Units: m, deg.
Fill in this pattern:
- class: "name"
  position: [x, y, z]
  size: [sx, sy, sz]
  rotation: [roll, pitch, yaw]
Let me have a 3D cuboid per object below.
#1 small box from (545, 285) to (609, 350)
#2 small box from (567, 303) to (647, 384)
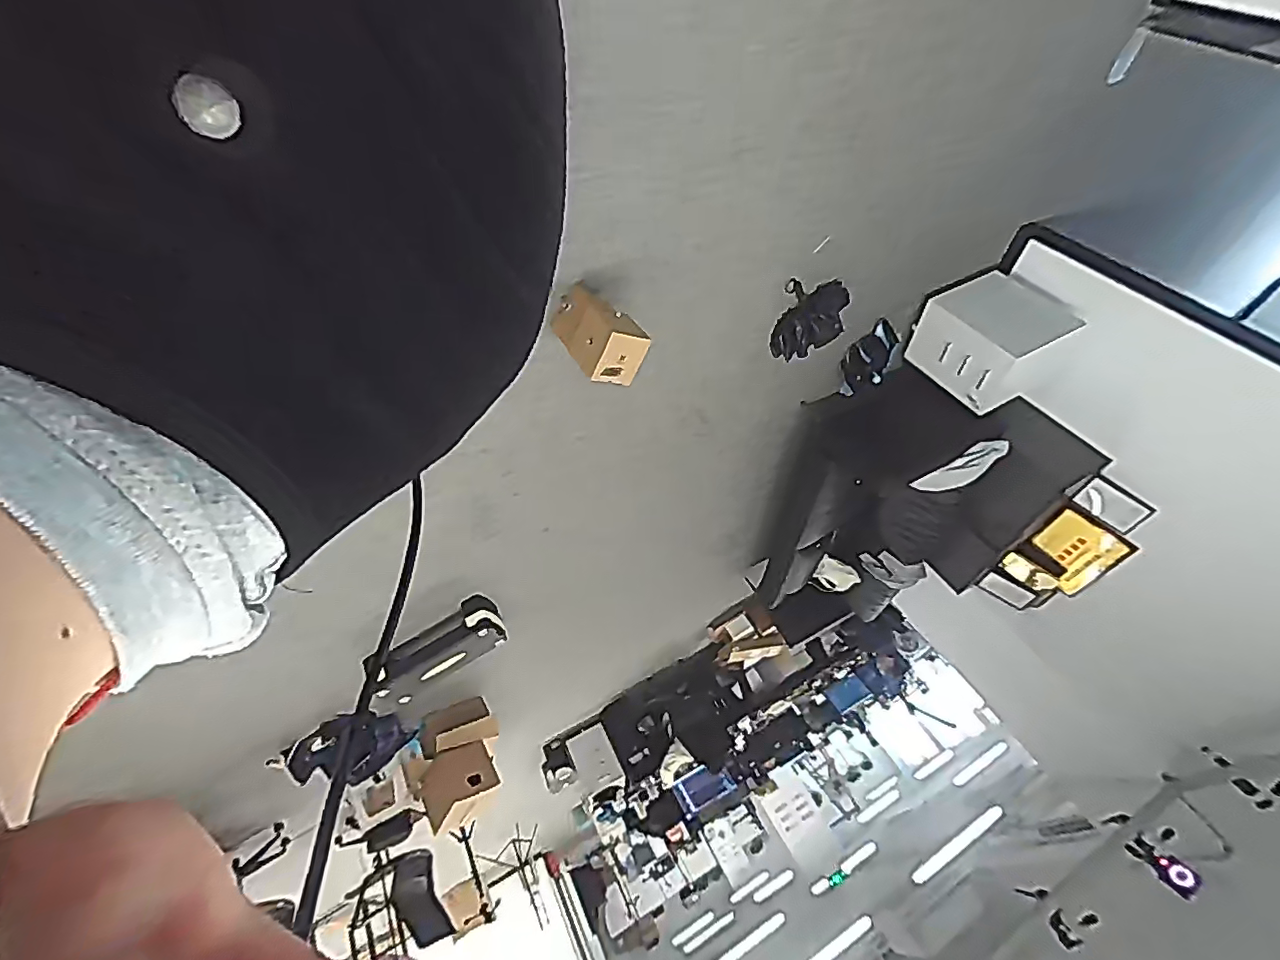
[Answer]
- class: "small box"
  position: [-0.190, -0.532, 1.841]
  size: [0.179, 0.176, 0.168]
  rotation: [13, 123, -49]
- class: "small box"
  position: [-0.112, -0.435, 1.730]
  size: [0.168, 0.176, 0.179]
  rotation: [-2, 133, -42]
